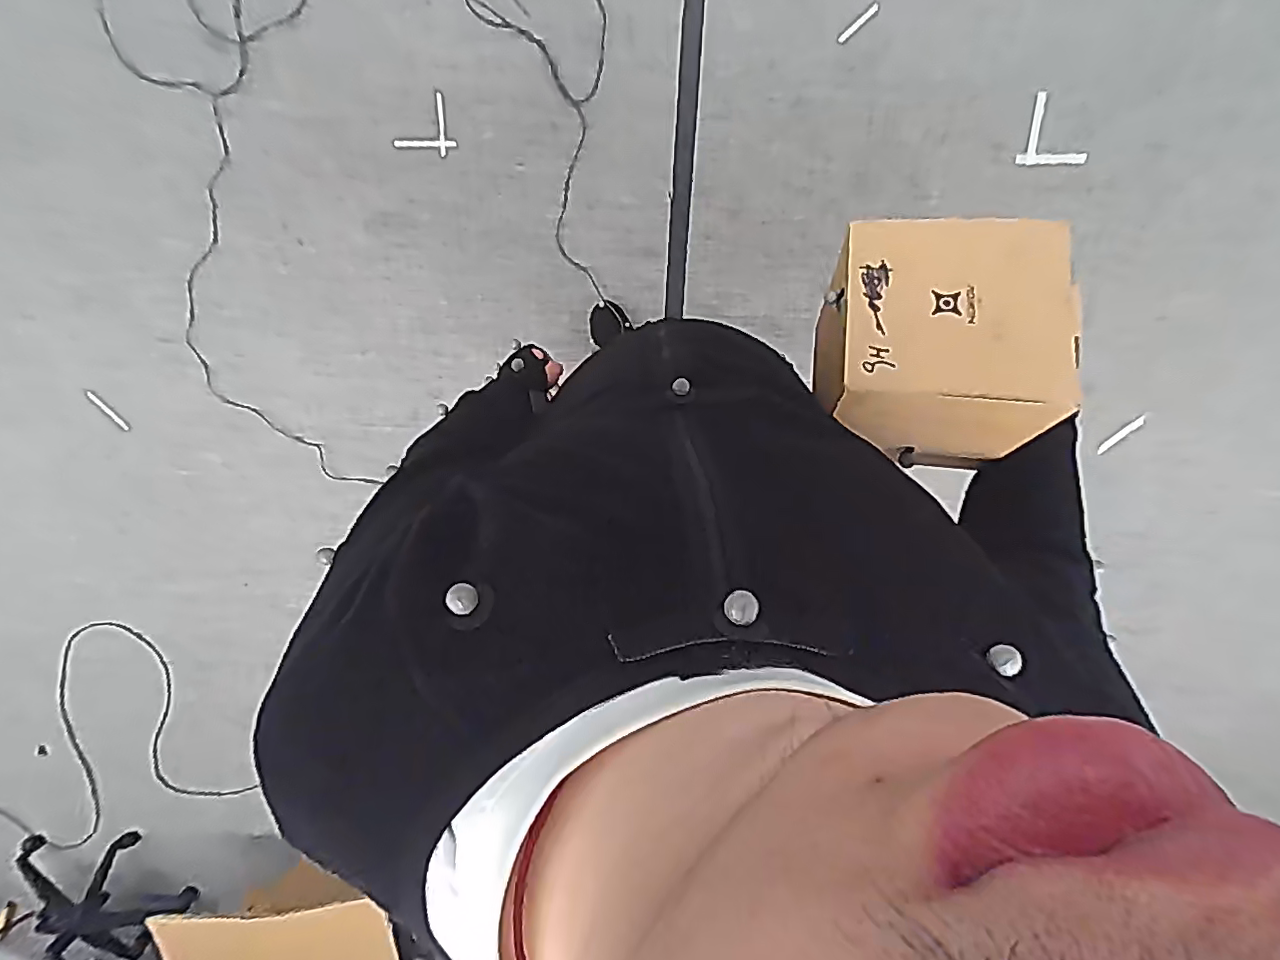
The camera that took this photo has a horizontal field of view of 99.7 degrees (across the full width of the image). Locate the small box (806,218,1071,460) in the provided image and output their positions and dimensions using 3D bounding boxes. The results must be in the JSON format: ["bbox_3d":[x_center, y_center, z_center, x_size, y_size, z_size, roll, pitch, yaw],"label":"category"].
[{"bbox_3d":[0.273,-0.126,0.531,0.179,0.176,0.168,6,74,9],"label":"small box"}]
